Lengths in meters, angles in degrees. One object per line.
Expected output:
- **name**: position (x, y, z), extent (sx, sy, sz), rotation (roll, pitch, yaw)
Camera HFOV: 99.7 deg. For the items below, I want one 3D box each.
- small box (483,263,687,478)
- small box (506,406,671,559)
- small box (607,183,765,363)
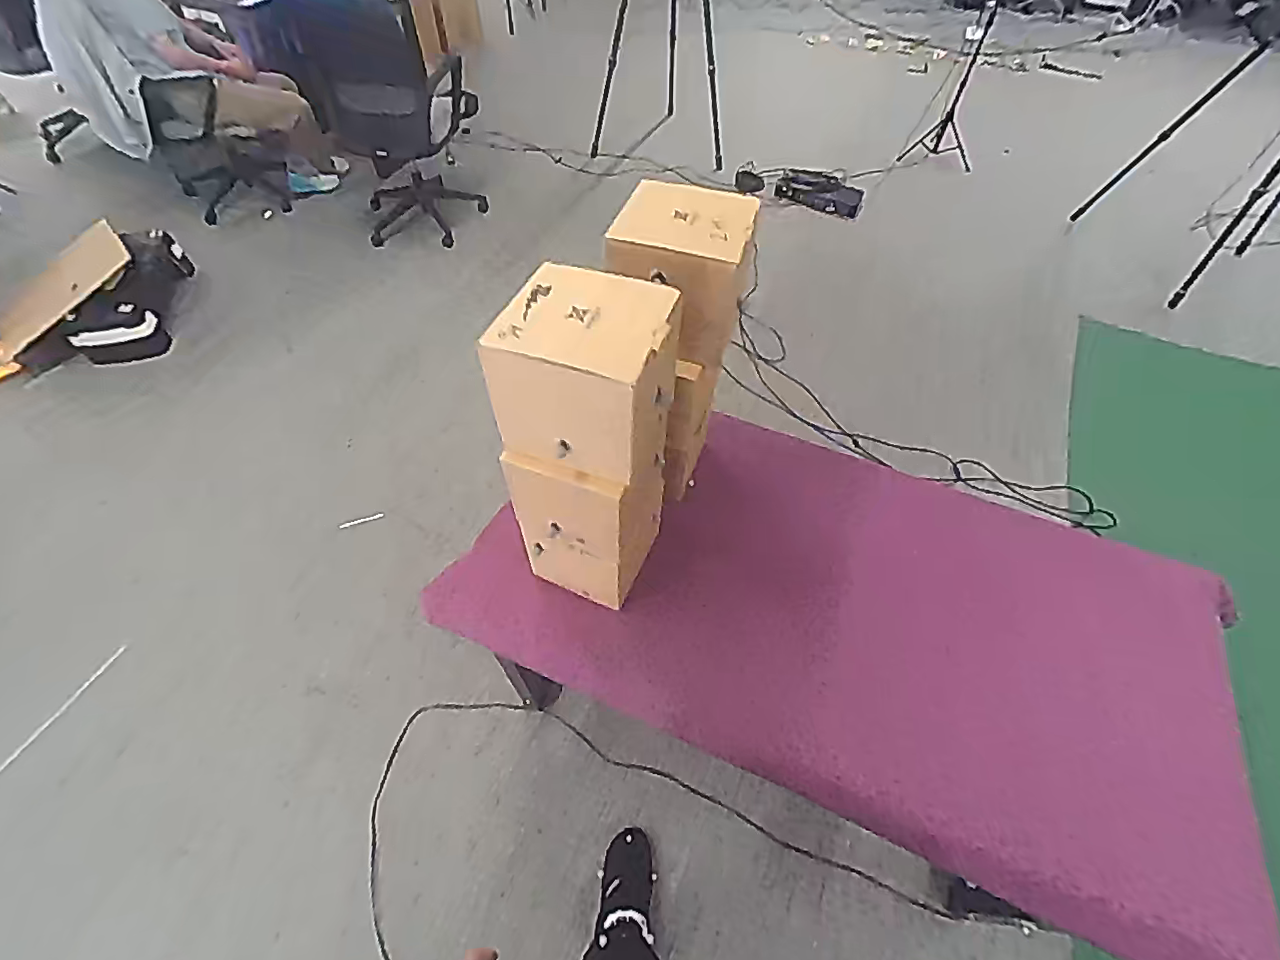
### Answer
- **small box**: position (-0.057, -0.125, 0.650), extent (0.179, 0.176, 0.168), rotation (17, 54, 11)
- **small box**: position (-0.067, -0.019, 0.774), extent (0.168, 0.176, 0.179), rotation (19, 55, 12)
- **small box**: position (0.062, -0.292, 0.775), extent (0.179, 0.176, 0.168), rotation (16, 56, 9)
